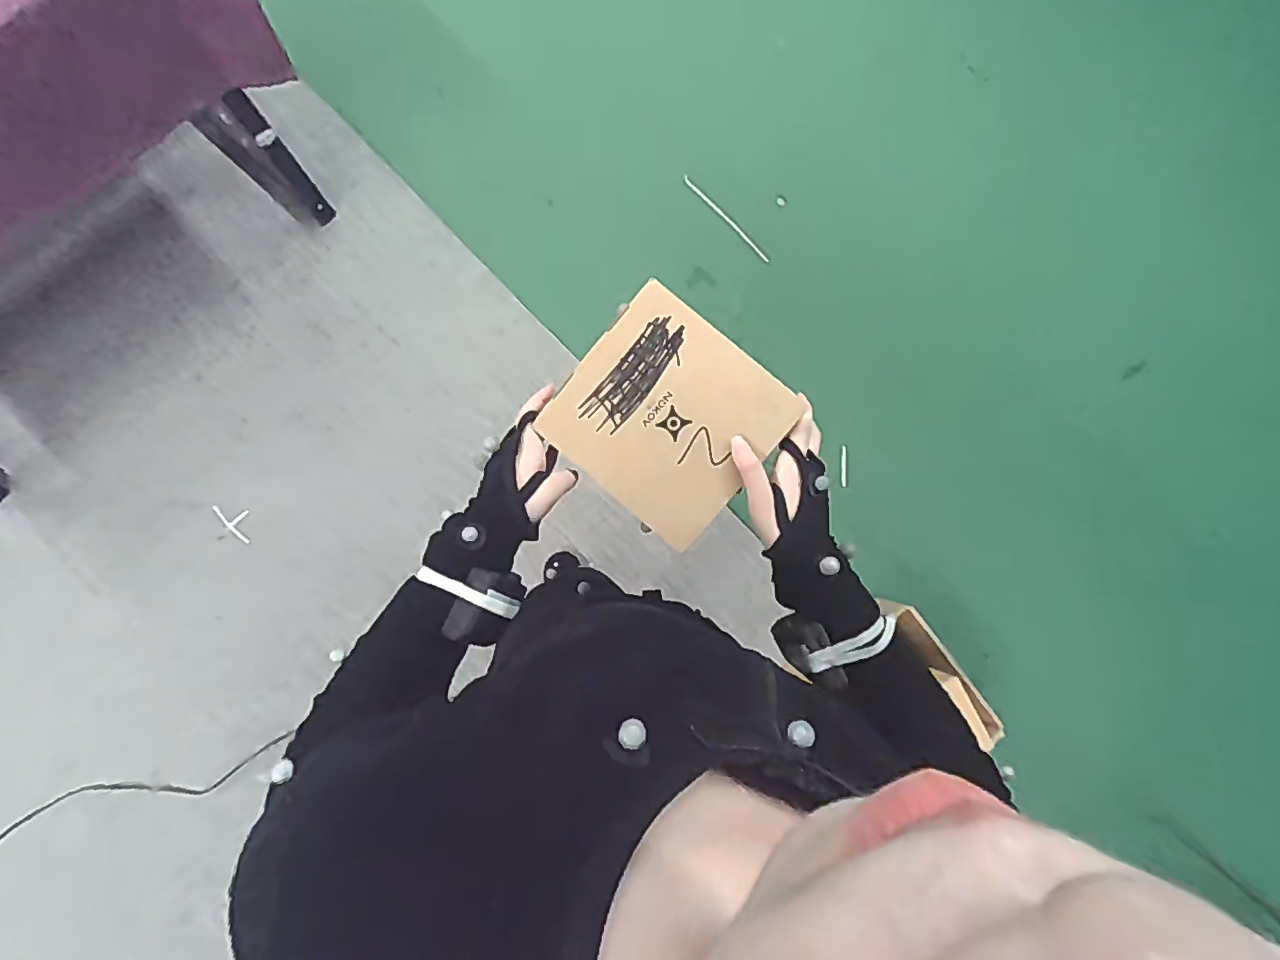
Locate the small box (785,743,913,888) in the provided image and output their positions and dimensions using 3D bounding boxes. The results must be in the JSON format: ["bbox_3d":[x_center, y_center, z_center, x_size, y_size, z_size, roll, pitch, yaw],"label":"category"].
[{"bbox_3d":[0.437,0.712,1.171,0.179,0.176,0.168,-37,85,-9],"label":"small box"}]

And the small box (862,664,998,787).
[{"bbox_3d":[0.639,0.537,1.212,0.179,0.176,0.168,-26,84,-4],"label":"small box"}]
